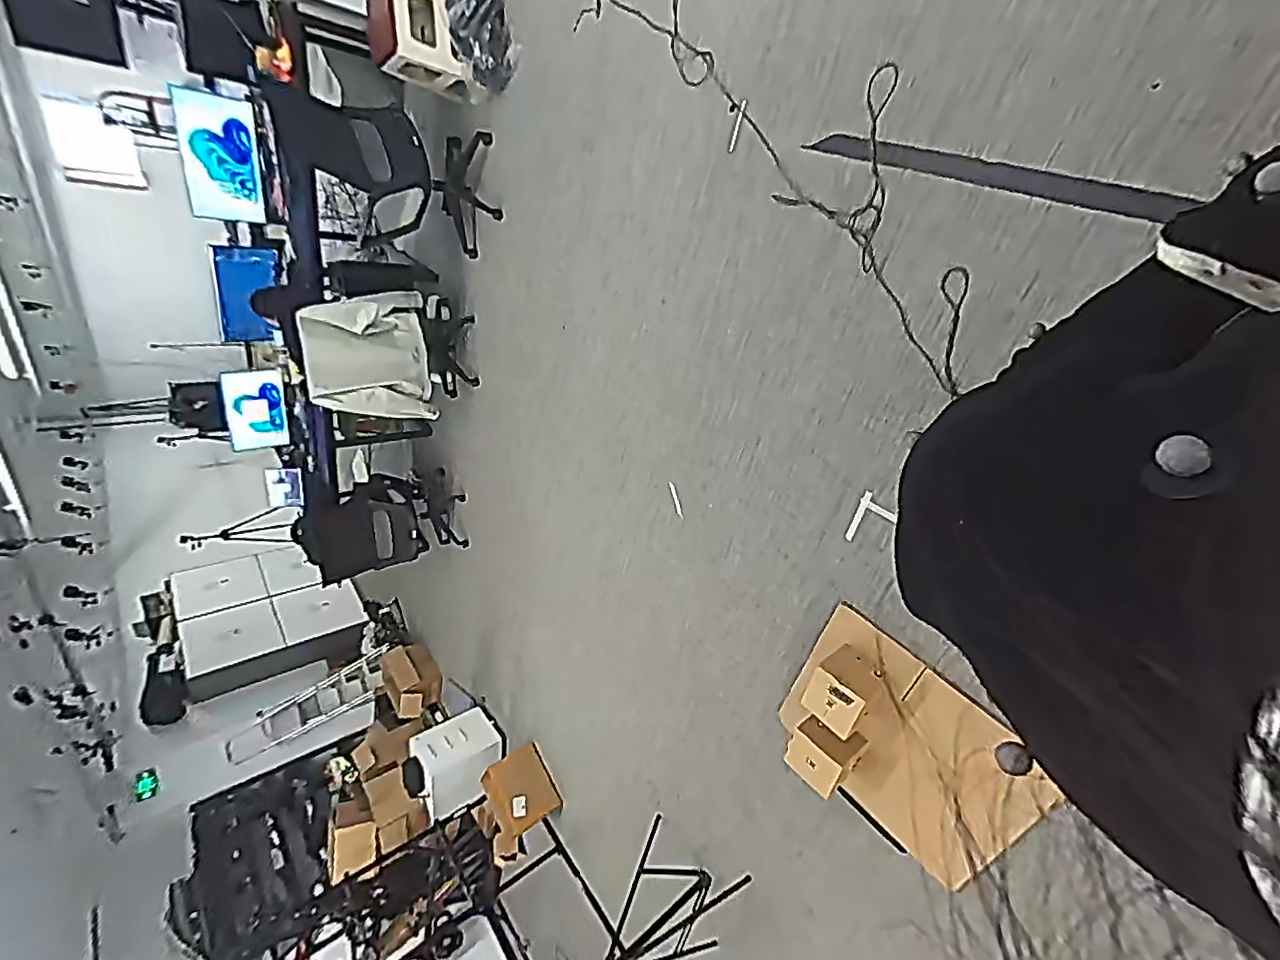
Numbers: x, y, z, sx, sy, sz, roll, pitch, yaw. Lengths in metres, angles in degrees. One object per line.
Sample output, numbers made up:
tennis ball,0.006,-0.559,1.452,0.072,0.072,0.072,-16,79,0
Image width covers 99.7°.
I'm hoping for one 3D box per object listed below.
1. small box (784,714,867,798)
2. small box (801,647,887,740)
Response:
small box,0.612,0.889,1.784,0.179,0.176,0.168,33,126,39
small box,0.638,0.653,1.679,0.168,0.176,0.179,36,127,38
